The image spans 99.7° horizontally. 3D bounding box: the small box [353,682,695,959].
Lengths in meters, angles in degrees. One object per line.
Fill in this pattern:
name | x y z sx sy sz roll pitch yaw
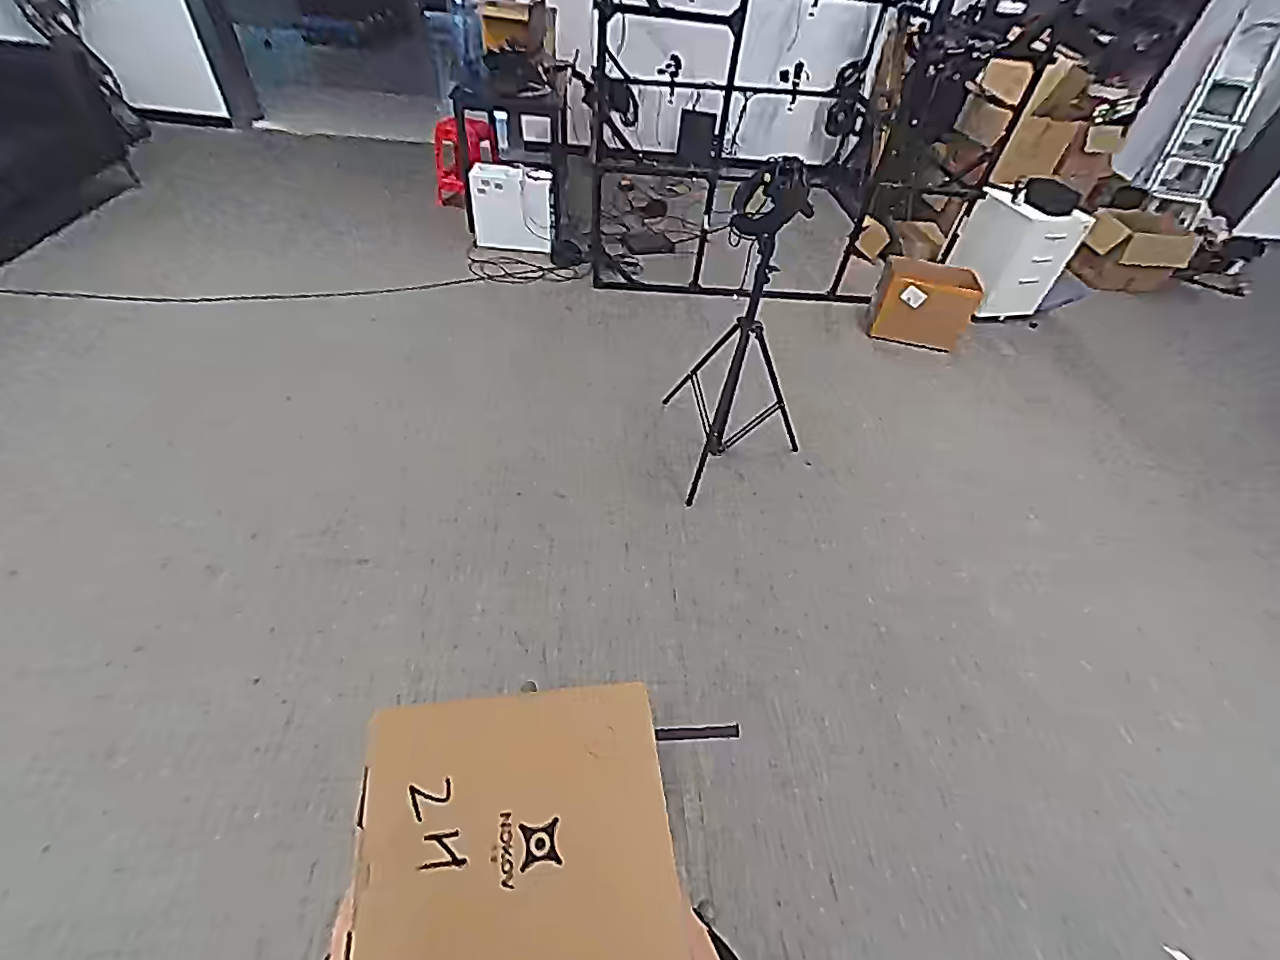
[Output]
small box | -0.084 0.248 0.369 0.179 0.176 0.168 1 56 -18
